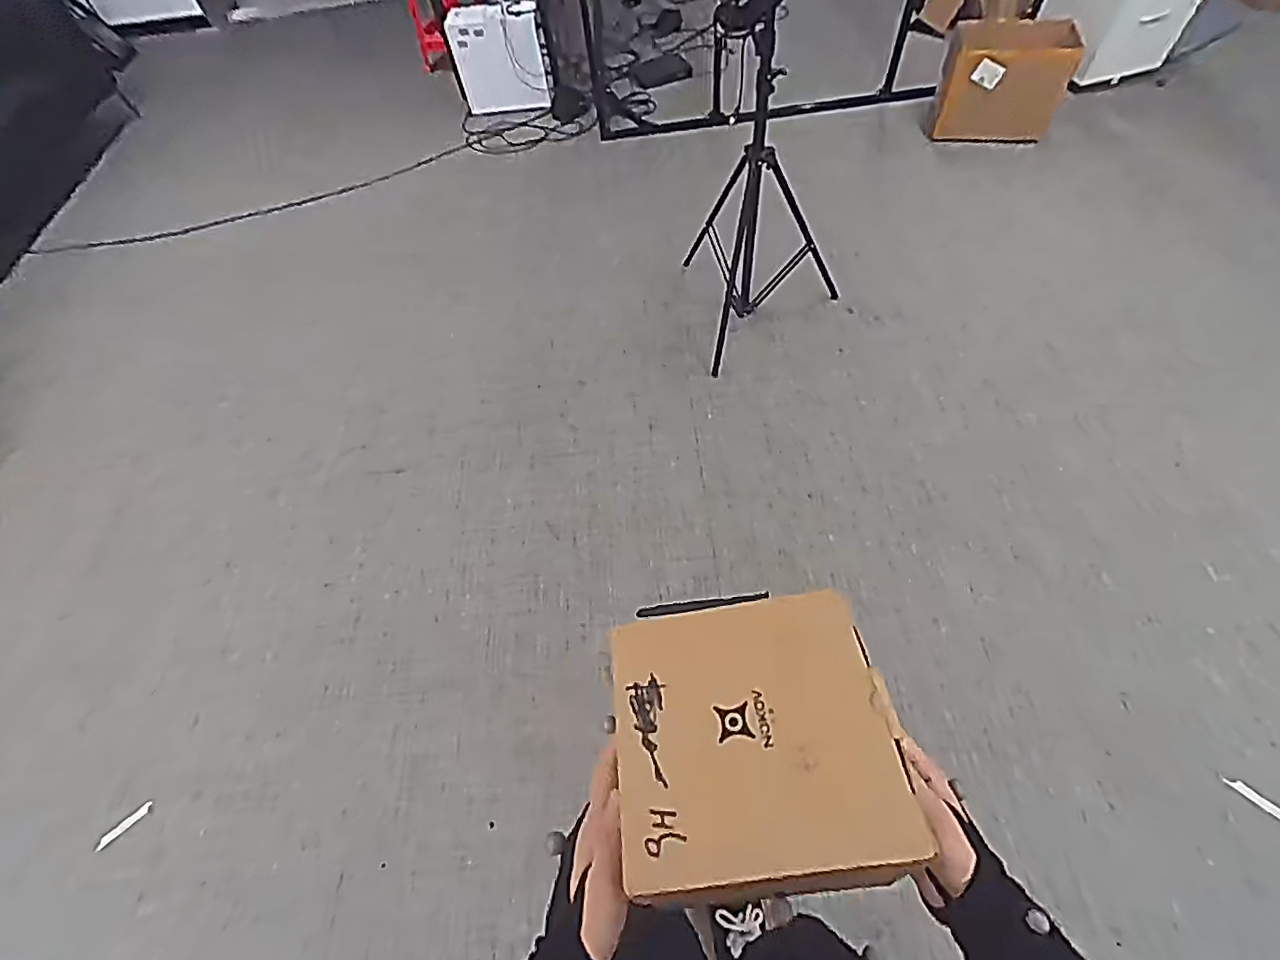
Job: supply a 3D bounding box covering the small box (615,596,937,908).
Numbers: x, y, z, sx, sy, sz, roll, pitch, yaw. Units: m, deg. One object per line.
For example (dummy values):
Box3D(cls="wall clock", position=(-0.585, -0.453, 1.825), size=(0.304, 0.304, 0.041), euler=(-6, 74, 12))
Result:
Box3D(cls="small box", position=(0.083, 0.209, 0.407), size=(0.179, 0.176, 0.168), euler=(-9, 48, 4))
